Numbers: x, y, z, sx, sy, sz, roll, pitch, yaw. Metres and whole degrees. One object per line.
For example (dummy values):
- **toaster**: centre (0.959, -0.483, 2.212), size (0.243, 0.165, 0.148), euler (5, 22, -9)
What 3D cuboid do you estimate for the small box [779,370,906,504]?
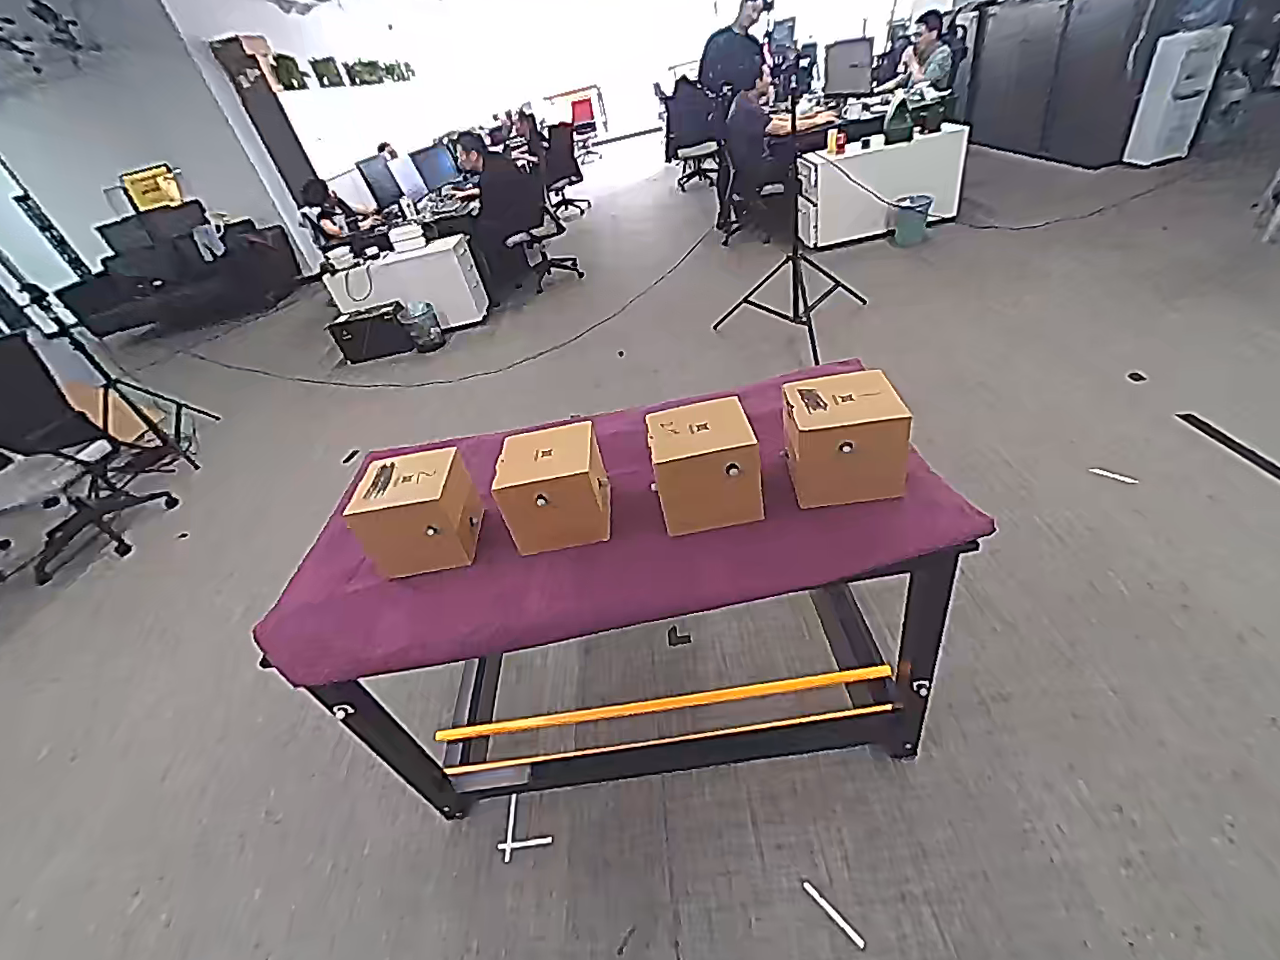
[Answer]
- **small box**: centre (0.353, -0.072, 0.962), size (0.179, 0.176, 0.168), euler (-8, 37, 9)

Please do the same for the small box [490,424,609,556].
- **small box**: centre (-0.159, 0.020, 1.025), size (0.179, 0.176, 0.168), euler (-12, 37, 5)

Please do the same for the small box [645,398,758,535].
- **small box**: centre (0.113, -0.023, 0.981), size (0.179, 0.176, 0.168), euler (-12, 35, 4)
